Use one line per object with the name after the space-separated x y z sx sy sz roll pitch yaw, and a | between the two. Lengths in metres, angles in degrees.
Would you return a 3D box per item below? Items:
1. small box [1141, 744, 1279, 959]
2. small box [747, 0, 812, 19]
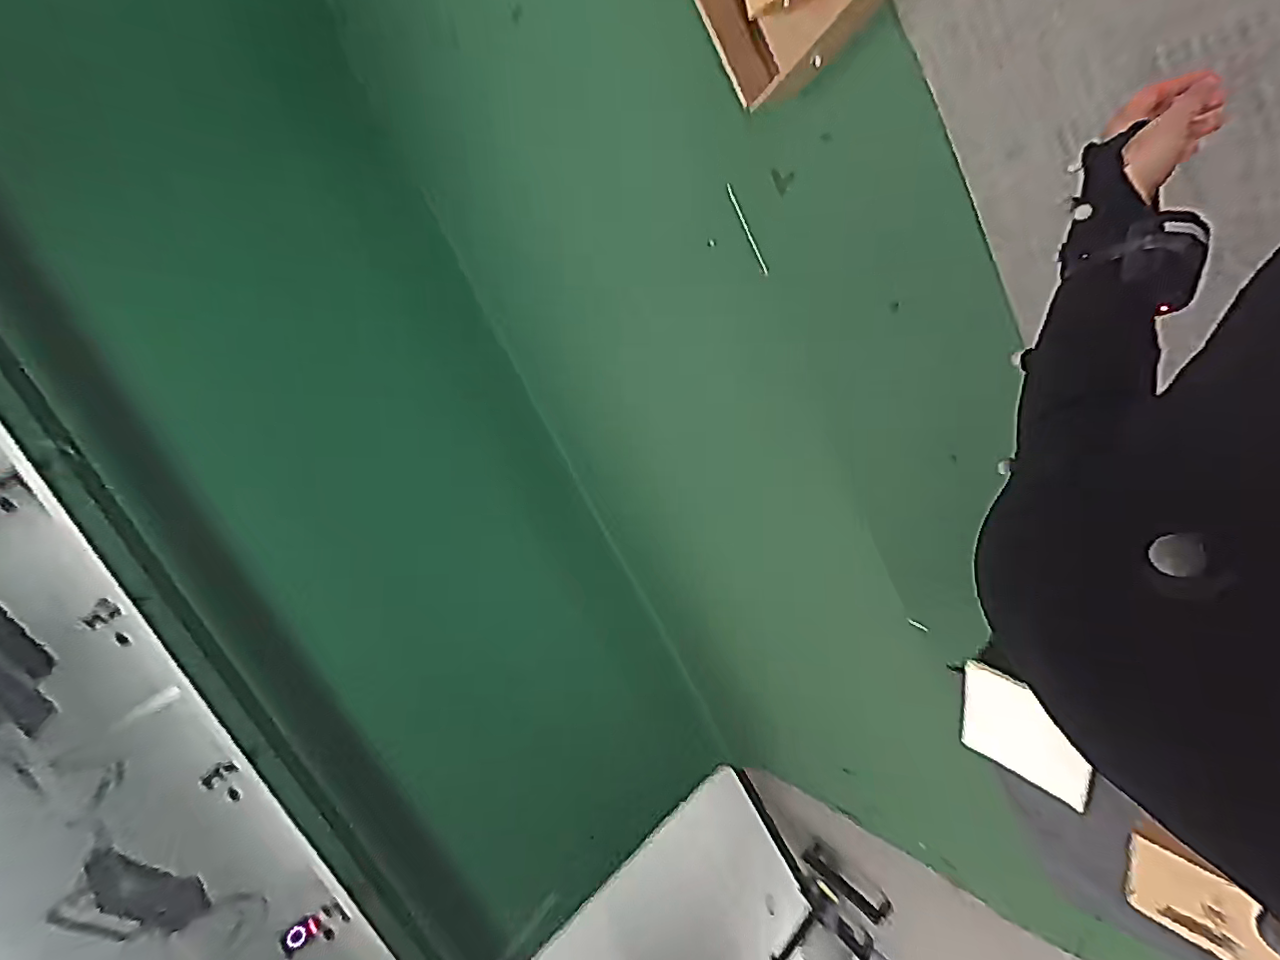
0.802 0.500 0.716 0.168 0.176 0.179 13 130 53 | small box
0.343 -1.185 1.211 0.179 0.176 0.168 8 125 56 | small box
